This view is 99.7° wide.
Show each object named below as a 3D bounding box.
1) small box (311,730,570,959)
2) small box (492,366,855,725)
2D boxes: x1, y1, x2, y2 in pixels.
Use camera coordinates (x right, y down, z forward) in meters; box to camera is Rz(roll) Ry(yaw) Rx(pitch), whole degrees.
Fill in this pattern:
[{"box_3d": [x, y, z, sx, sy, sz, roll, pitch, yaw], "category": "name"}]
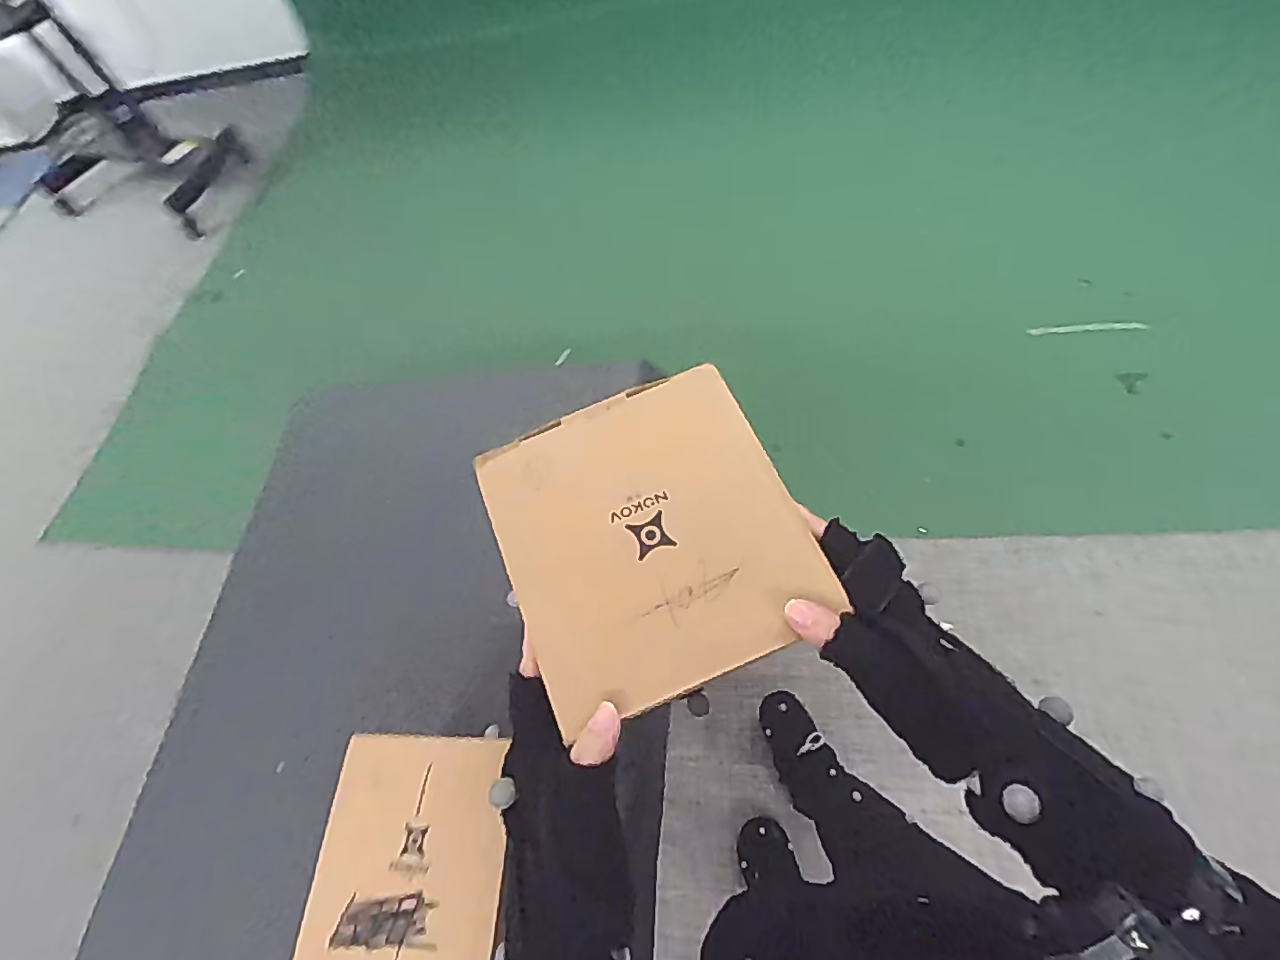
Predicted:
[{"box_3d": [-0.174, 0.352, 0.537, 0.168, 0.176, 0.179, -2, 61, 8], "category": "small box"}, {"box_3d": [0.016, 0.056, 0.388, 0.168, 0.176, 0.179, -21, 69, -4], "category": "small box"}]
